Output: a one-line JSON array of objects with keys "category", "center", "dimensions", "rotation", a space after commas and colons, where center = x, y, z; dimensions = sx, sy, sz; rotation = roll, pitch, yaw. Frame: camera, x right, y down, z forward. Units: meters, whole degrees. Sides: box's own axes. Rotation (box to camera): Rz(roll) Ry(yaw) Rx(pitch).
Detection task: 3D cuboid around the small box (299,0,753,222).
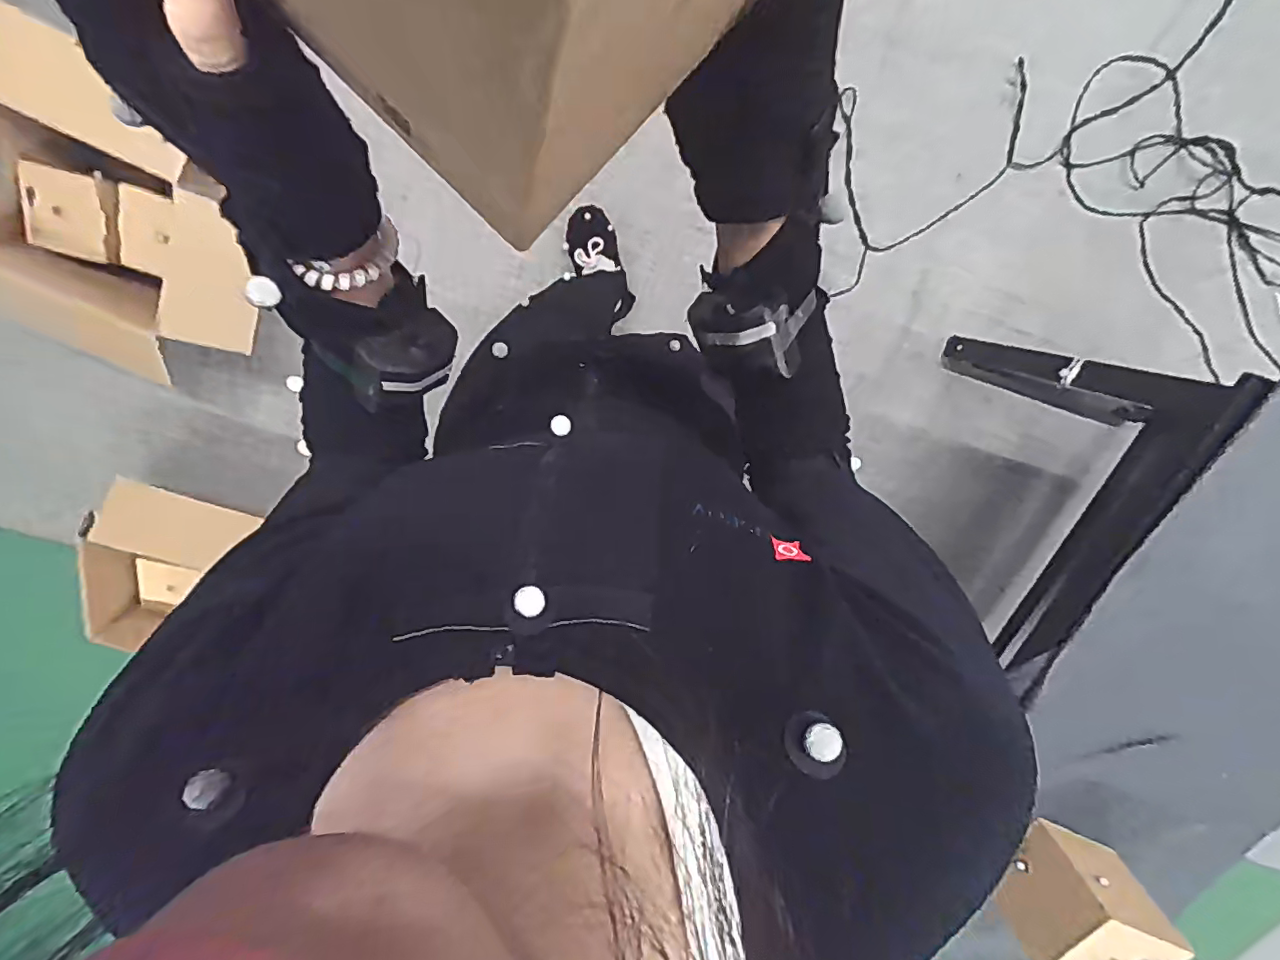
[{"category": "small box", "center": [-0.032, -0.211, 0.150], "dimensions": [0.168, 0.176, 0.179], "rotation": [42, 85, -16]}]
